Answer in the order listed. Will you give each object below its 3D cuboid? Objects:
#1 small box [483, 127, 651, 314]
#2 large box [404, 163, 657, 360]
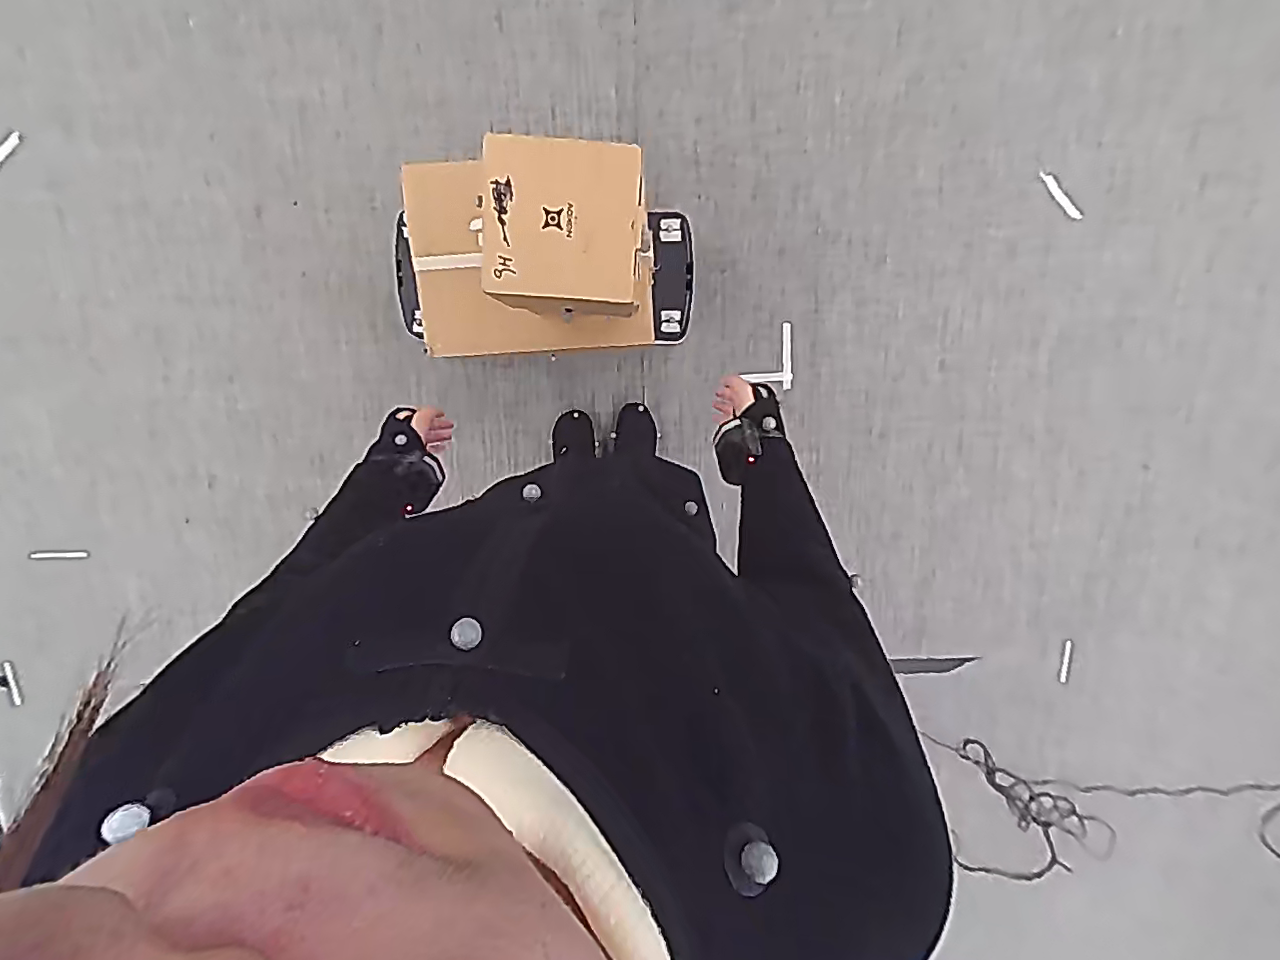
[{"bbox_3d":[-0.085,-0.302,0.668,0.179,0.176,0.168,4,101,-3],"label":"small box"},{"bbox_3d":[-0.181,-0.407,1.061,0.408,0.320,0.320,-4,101,0],"label":"large box"}]
